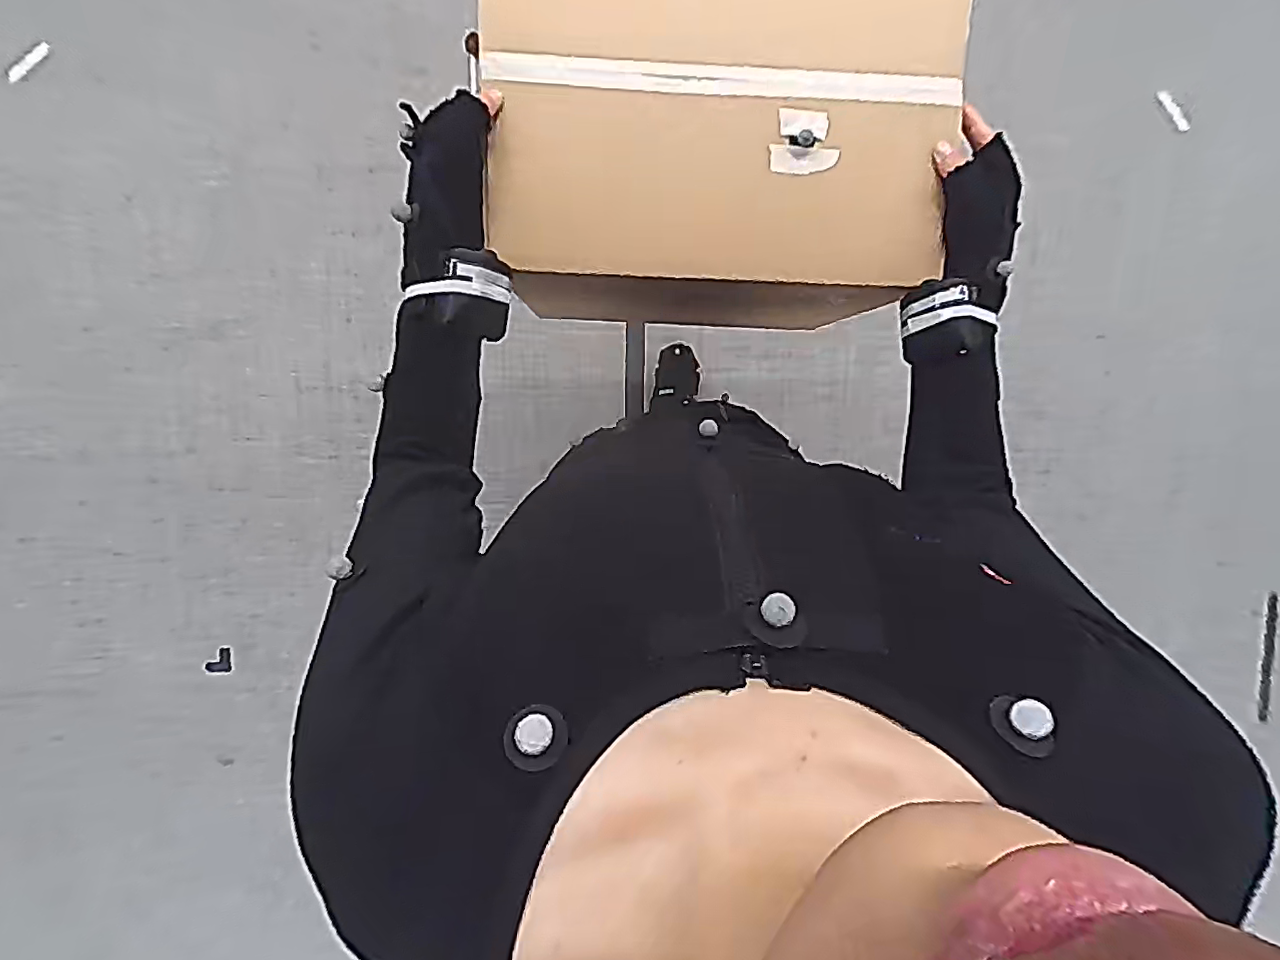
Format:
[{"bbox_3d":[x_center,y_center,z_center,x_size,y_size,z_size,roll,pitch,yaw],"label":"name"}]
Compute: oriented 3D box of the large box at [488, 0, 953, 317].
[{"bbox_3d":[0.061,-0.366,0.613,0.408,0.320,0.320,1,100,-3],"label":"large box"}]
